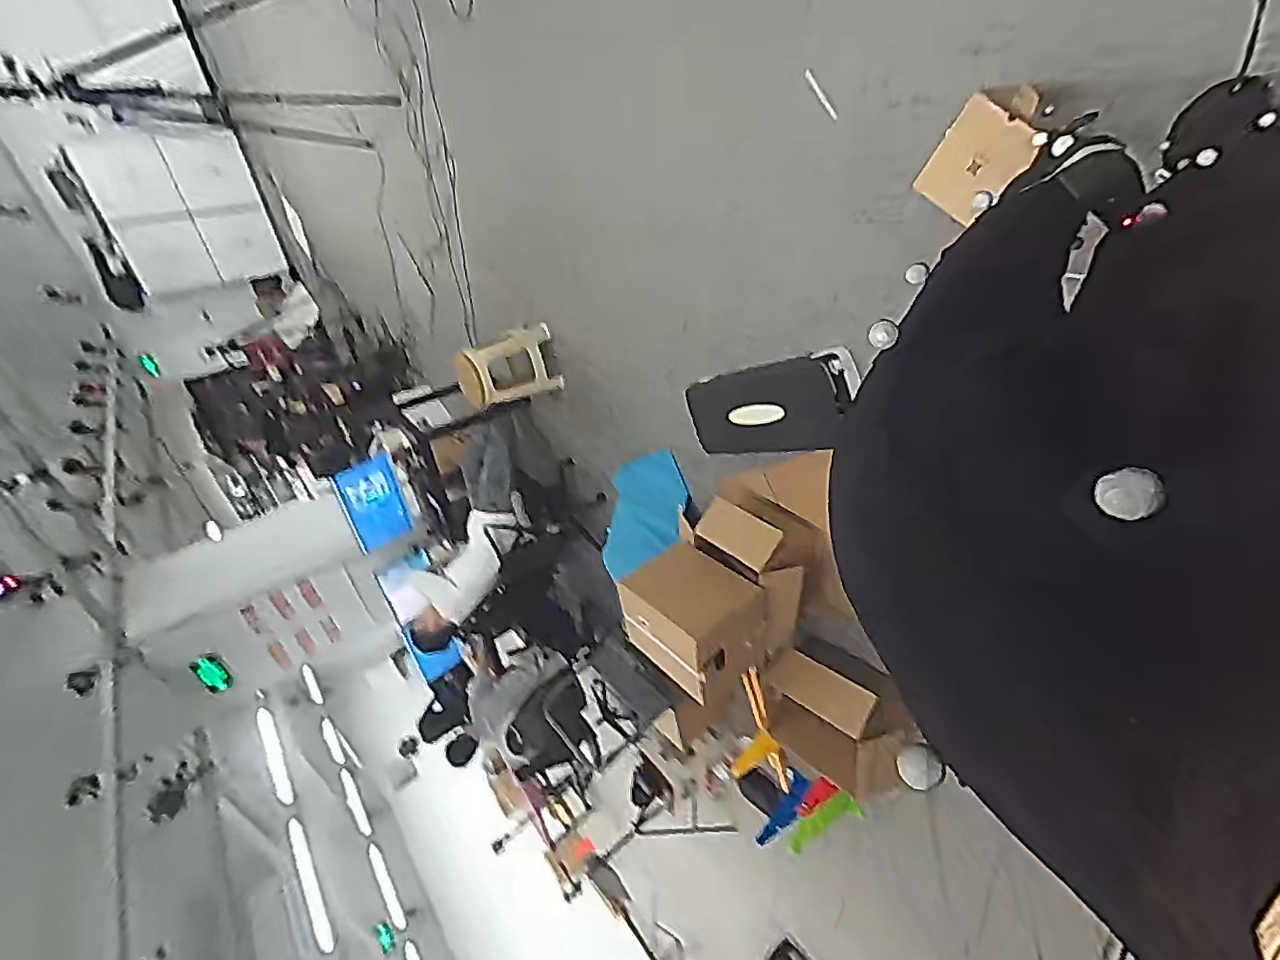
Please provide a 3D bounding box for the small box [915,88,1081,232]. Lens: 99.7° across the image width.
[{"bbox_3d":[0.681,-0.611,1.032,0.168,0.176,0.179,51,148,19],"label":"small box"}]
